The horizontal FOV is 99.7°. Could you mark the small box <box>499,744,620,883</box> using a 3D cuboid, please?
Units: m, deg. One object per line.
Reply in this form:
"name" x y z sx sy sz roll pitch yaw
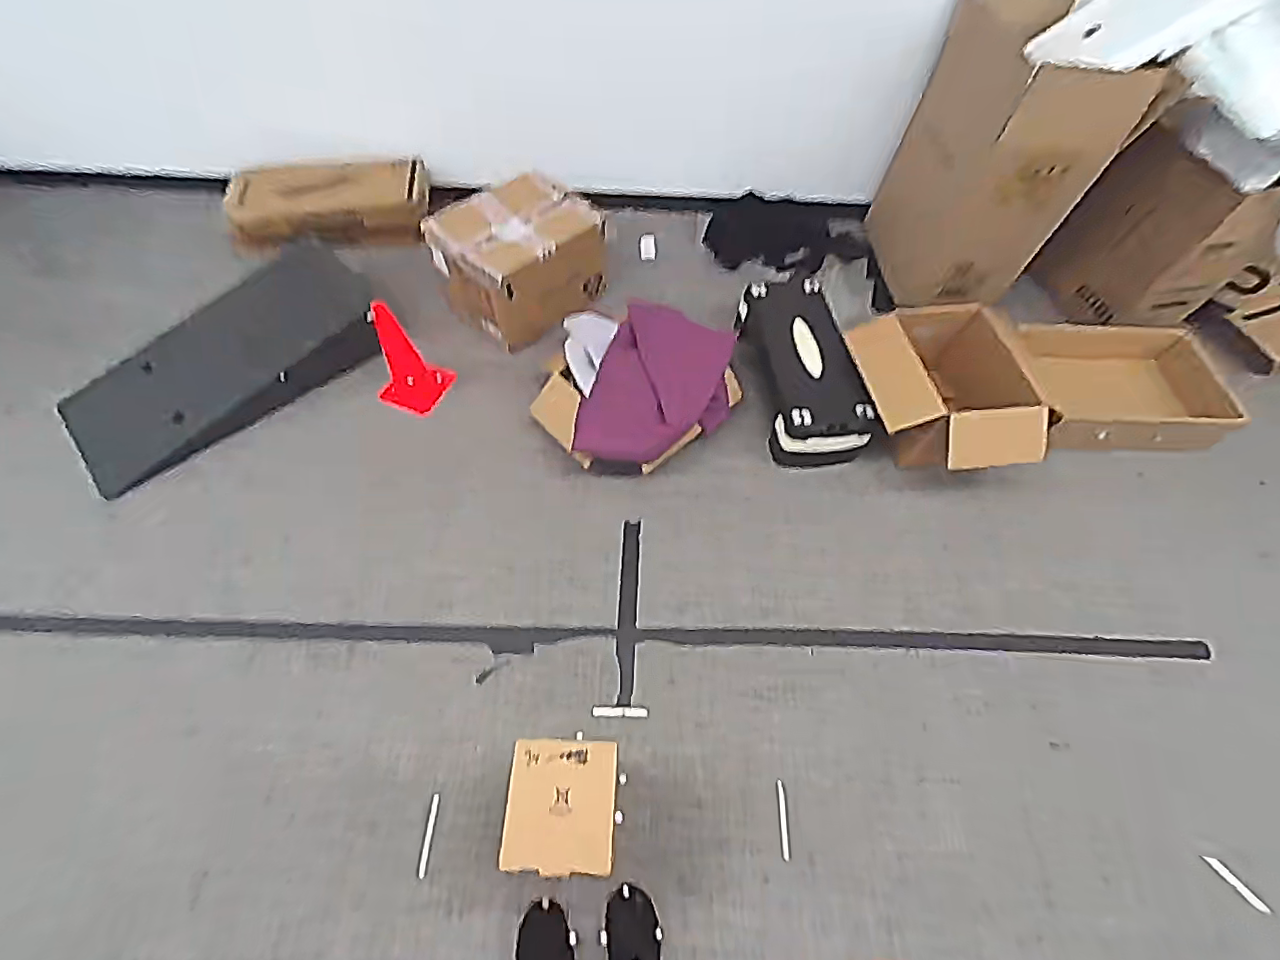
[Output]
"small box" -0.120 0.541 0.890 0.168 0.176 0.179 2 59 0
